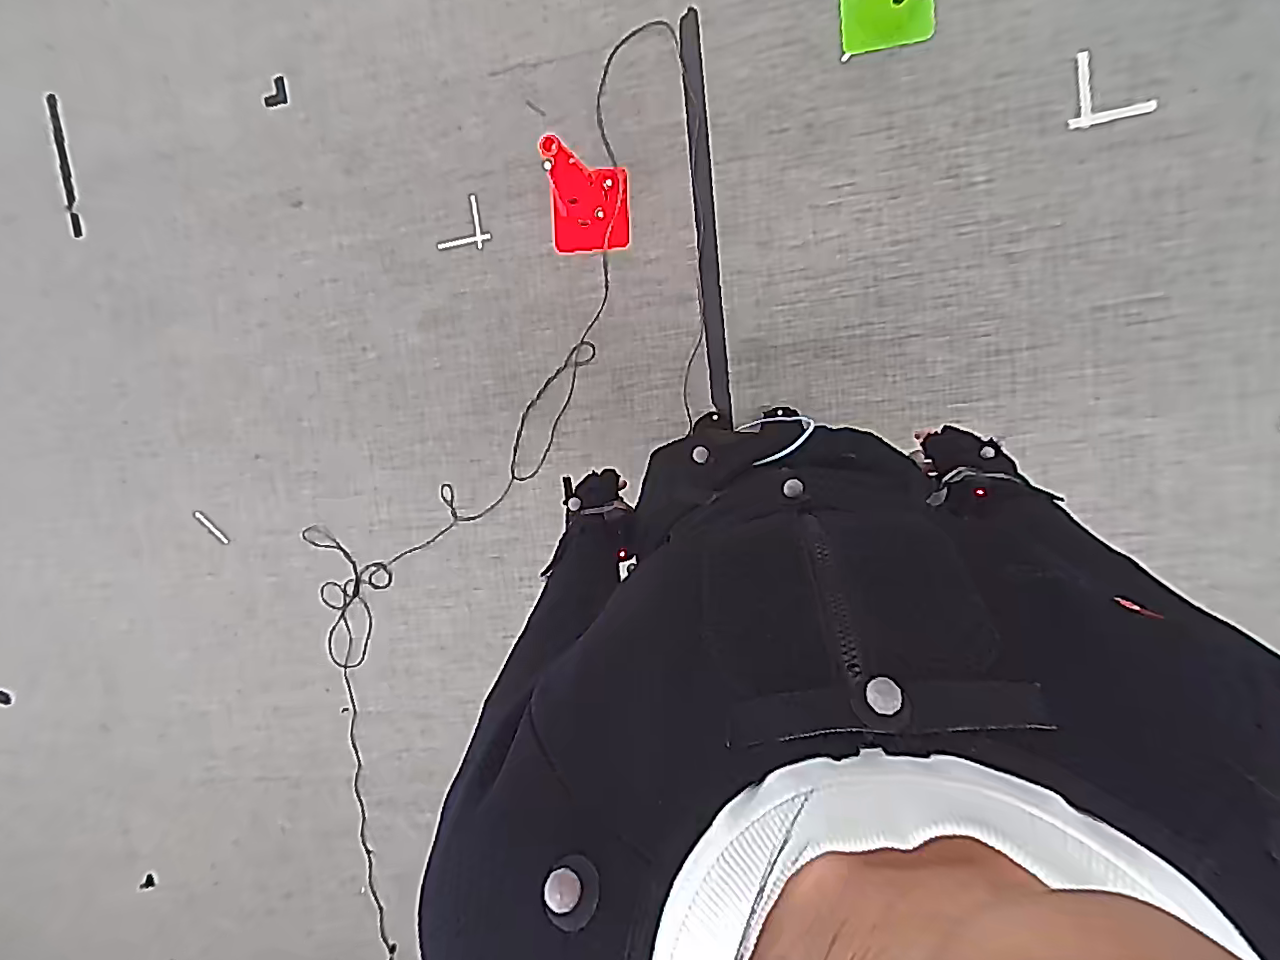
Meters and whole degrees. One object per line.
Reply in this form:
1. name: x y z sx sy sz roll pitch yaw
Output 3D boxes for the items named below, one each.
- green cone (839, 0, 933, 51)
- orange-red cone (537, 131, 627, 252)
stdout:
1. green cone: 0.535 -1.072 1.060 0.202 0.368 0.200 -5 96 8
2. orange-red cone: -0.157 -0.672 1.216 0.199 0.360 0.198 -1 96 10
